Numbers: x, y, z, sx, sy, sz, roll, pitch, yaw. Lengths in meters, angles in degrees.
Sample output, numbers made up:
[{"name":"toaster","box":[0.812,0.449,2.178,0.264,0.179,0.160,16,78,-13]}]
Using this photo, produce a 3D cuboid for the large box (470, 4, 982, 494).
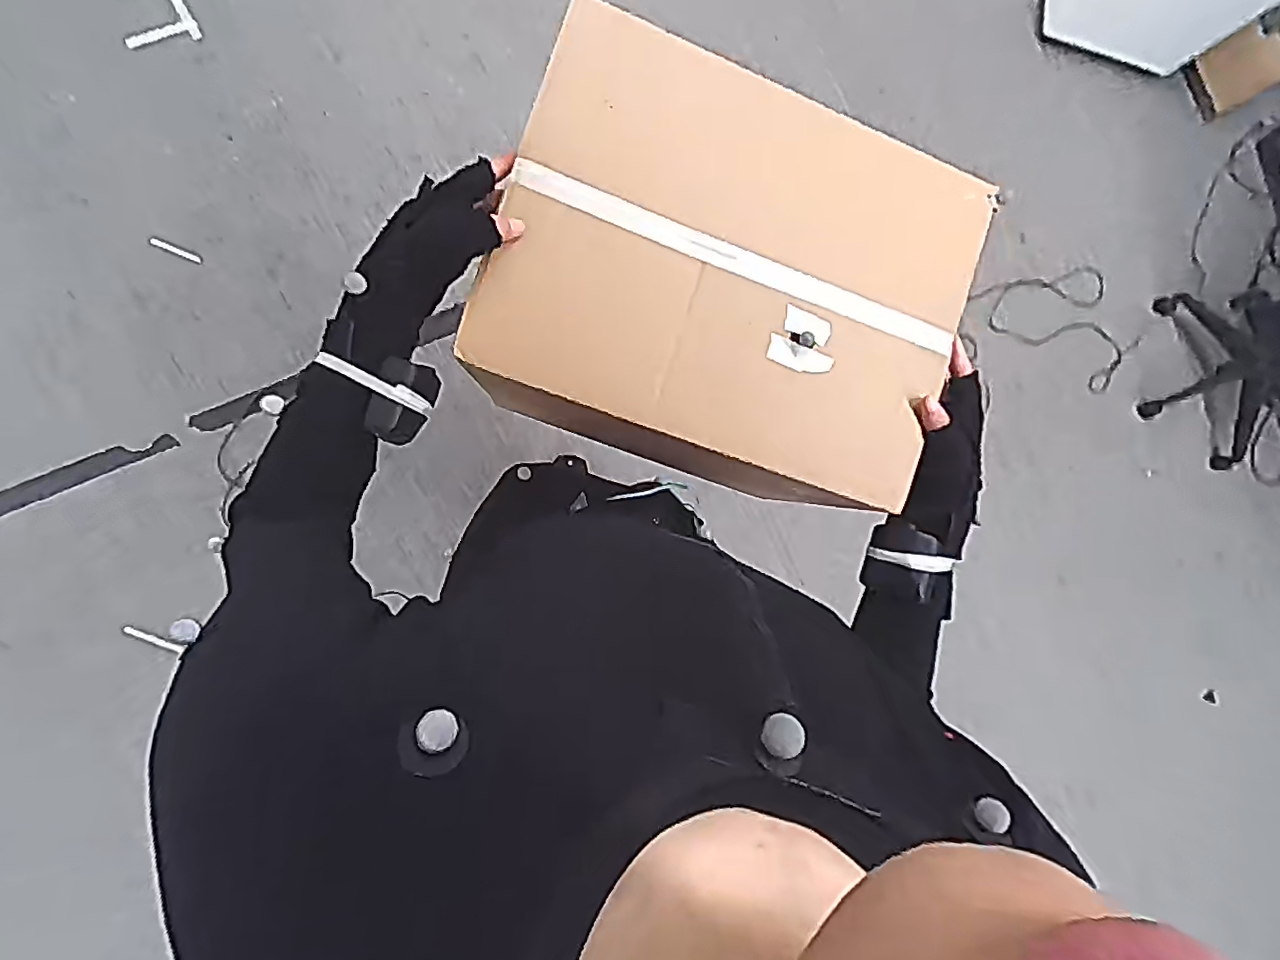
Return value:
[{"name":"large box","box":[0.065,-0.194,0.617,0.408,0.320,0.320,19,89,-9]}]
